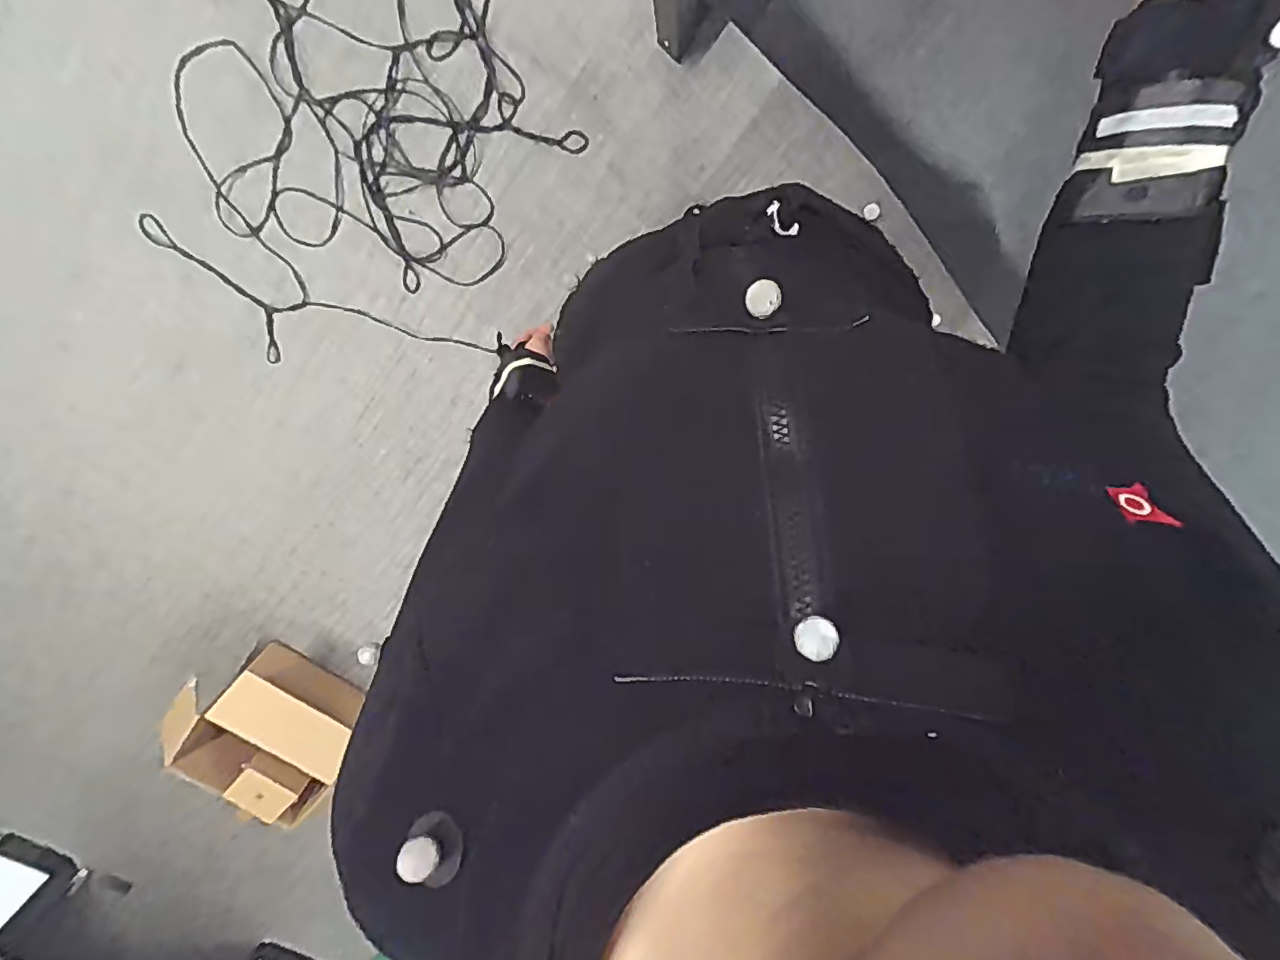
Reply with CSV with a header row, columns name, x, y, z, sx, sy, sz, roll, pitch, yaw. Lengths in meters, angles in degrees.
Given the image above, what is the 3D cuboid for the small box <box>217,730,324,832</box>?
name,x,y,z,sx,sy,sz,roll,pitch,yaw
small box,-1.093,0.895,1.615,0.168,0.176,0.179,42,108,-13
